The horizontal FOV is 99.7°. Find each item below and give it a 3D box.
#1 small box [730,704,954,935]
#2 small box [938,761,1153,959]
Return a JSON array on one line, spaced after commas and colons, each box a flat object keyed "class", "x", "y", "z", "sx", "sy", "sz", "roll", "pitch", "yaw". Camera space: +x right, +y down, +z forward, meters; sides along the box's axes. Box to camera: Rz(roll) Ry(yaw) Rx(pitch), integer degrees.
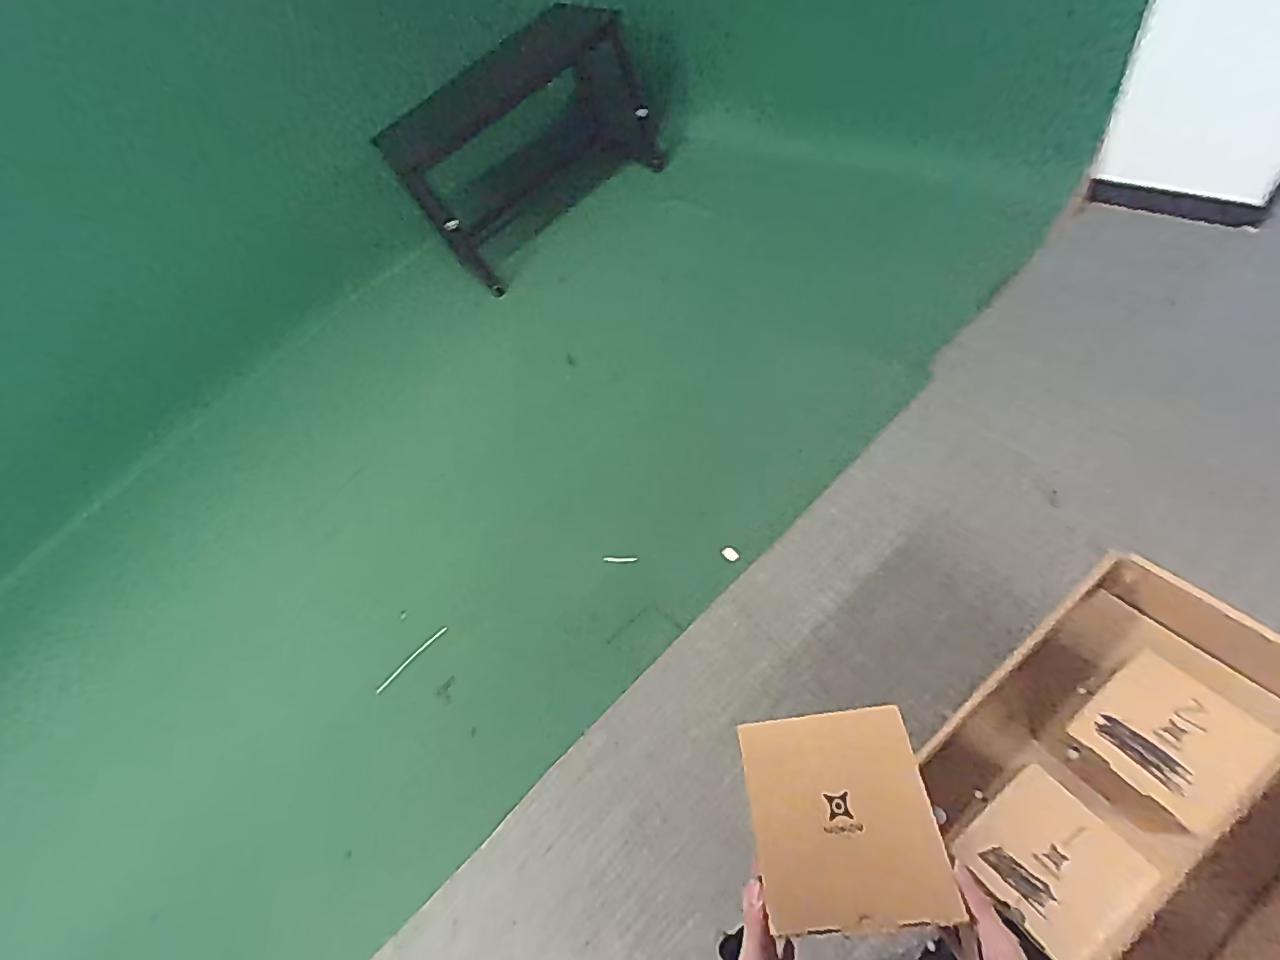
[{"class": "small box", "x": 0.193, "y": 0.355, "z": 0.574, "sx": 0.168, "sy": 0.176, "sz": 0.179, "roll": -11, "pitch": 55, "yaw": 7}, {"class": "small box", "x": 0.557, "y": 0.540, "z": 0.775, "sx": 0.179, "sy": 0.176, "sz": 0.168, "roll": -40, "pitch": 54, "yaw": -7}]
